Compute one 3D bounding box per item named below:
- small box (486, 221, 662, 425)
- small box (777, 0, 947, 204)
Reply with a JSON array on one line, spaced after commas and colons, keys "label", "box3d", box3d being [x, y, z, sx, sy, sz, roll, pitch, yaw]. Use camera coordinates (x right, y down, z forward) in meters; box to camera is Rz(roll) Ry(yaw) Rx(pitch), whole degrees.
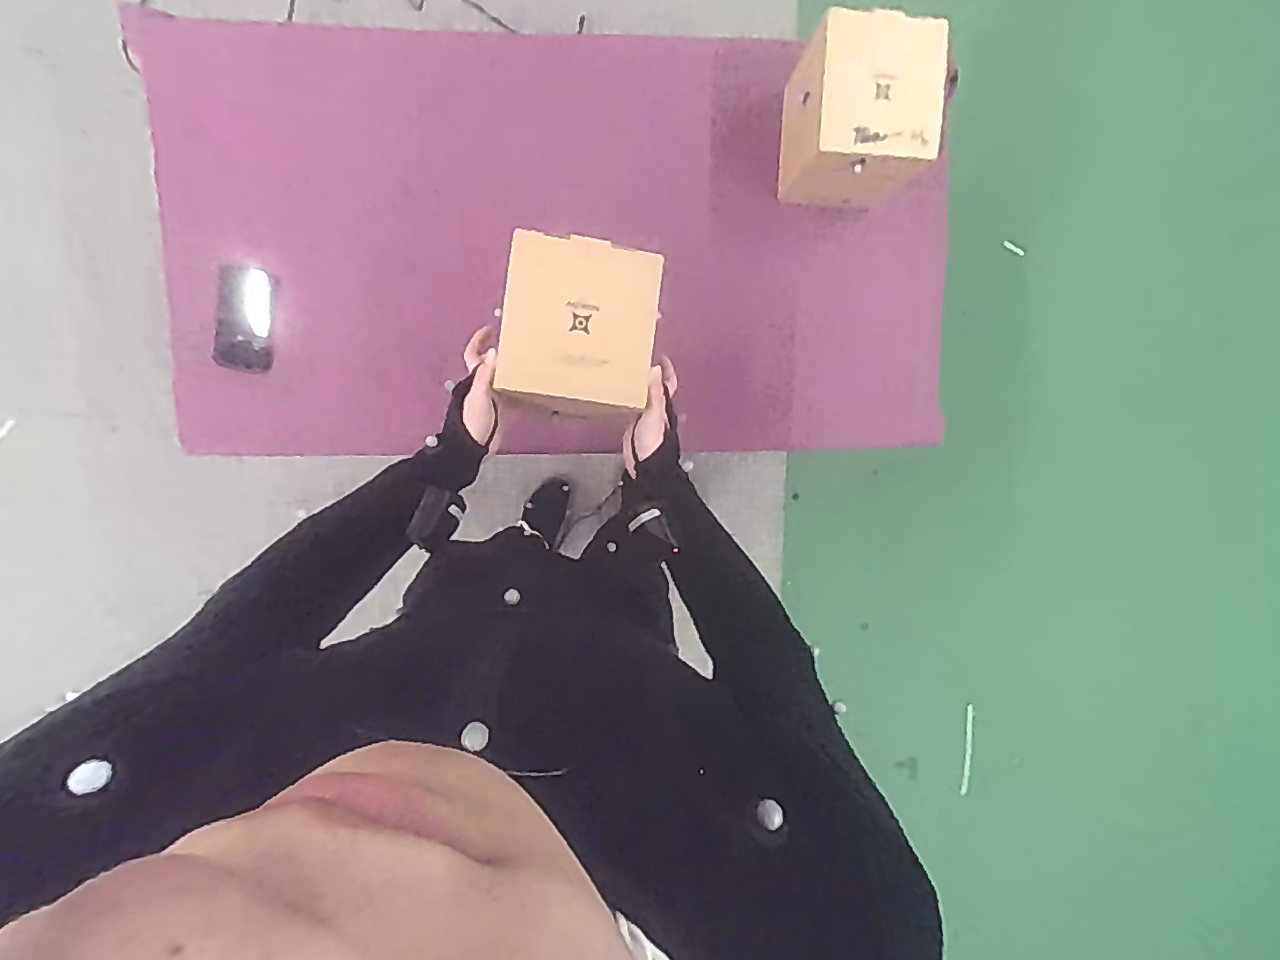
[{"label": "small box", "box3d": [-0.079, -0.170, 0.644, 0.168, 0.176, 0.179, 8, 89, -8]}, {"label": "small box", "box3d": [0.303, -0.523, 0.770, 0.168, 0.176, 0.179, 1, 95, -4]}]
